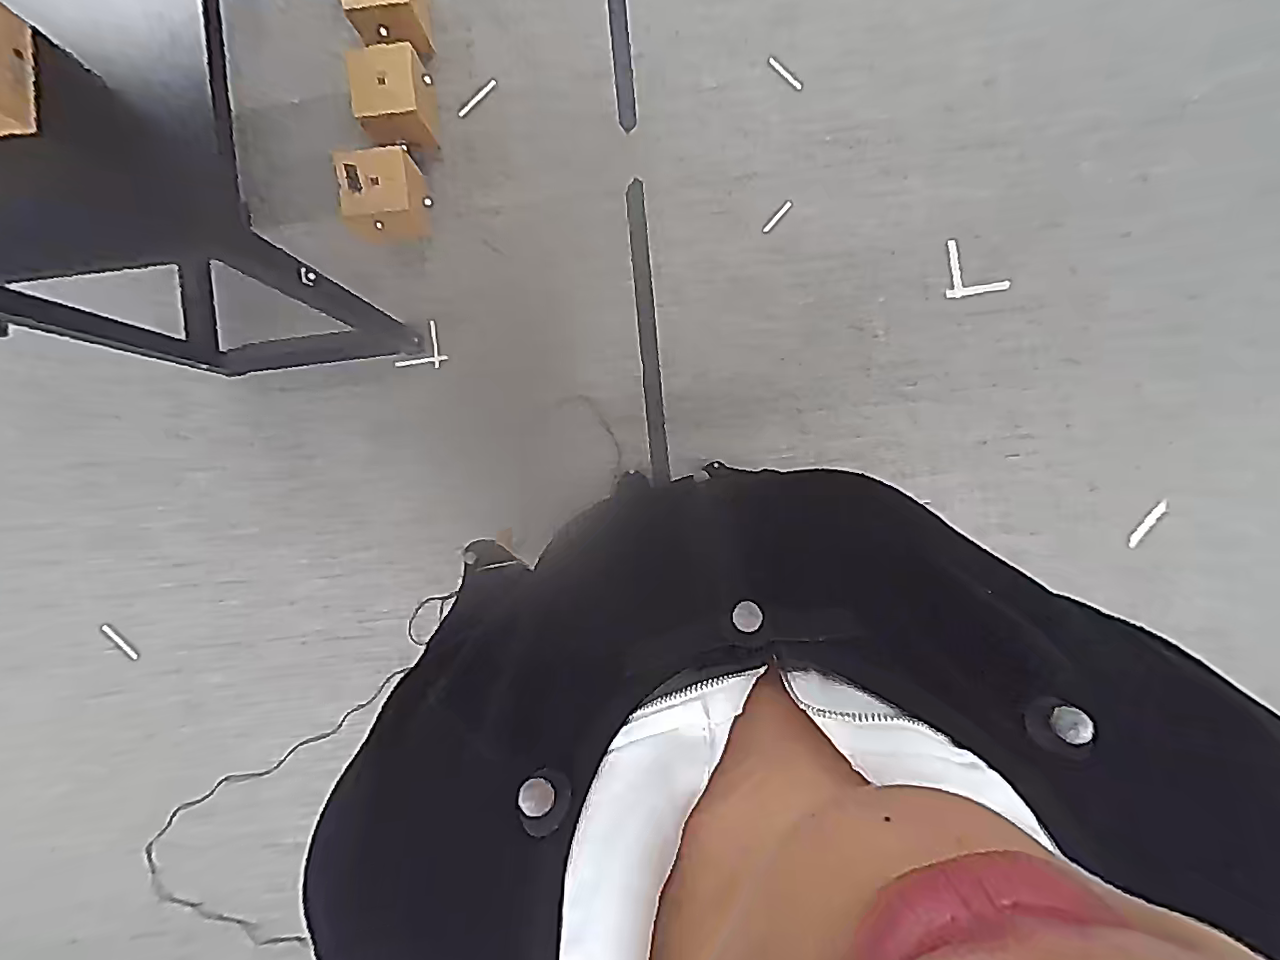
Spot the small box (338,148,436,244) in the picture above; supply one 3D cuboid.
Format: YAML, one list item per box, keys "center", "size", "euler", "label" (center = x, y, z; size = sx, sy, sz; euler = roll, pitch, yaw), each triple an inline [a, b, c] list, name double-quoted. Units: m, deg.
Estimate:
- center: [-0.672, -0.752, 1.449]
  size: [0.179, 0.176, 0.168]
  euler: [-7, 91, 1]
  label: "small box"

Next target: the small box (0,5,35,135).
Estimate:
- center: [-0.987, -0.595, 0.731]
  size: [0.179, 0.176, 0.168]
  euler: [-3, 90, 2]
  label: "small box"

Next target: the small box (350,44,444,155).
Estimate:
- center: [-0.644, -1.008, 1.449]
  size: [0.168, 0.176, 0.179]
  euler: [-7, 90, 3]
  label: "small box"

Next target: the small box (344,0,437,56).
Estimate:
- center: [-0.667, -1.270, 1.446]
  size: [0.179, 0.176, 0.168]
  euler: [-7, 91, 2]
  label: "small box"
